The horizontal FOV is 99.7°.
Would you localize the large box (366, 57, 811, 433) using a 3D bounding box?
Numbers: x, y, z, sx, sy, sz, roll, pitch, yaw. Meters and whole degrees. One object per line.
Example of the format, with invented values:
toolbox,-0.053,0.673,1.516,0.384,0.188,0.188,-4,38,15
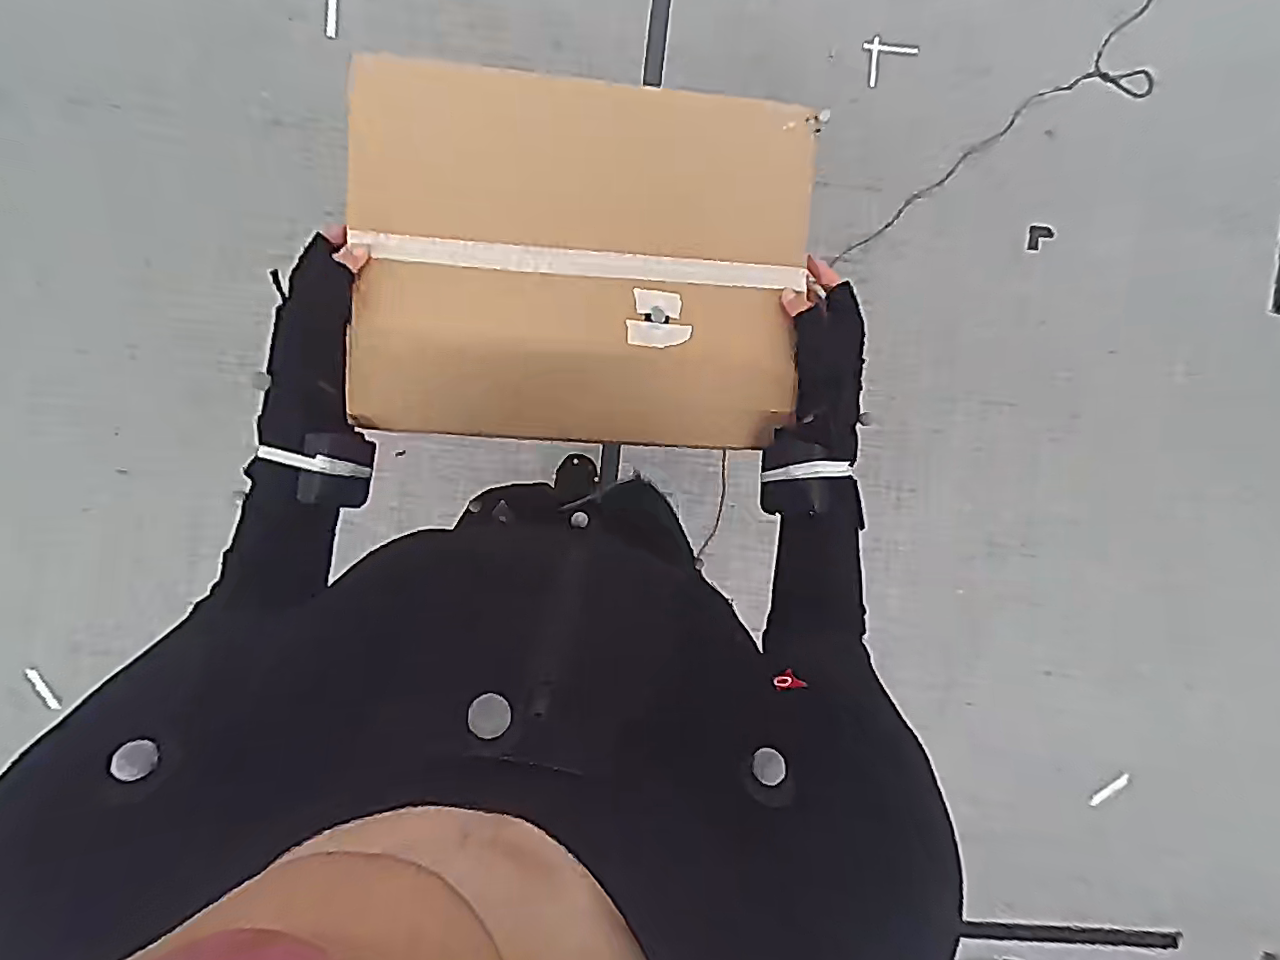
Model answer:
large box,-0.060,-0.218,0.642,0.408,0.320,0.320,3,96,-6
